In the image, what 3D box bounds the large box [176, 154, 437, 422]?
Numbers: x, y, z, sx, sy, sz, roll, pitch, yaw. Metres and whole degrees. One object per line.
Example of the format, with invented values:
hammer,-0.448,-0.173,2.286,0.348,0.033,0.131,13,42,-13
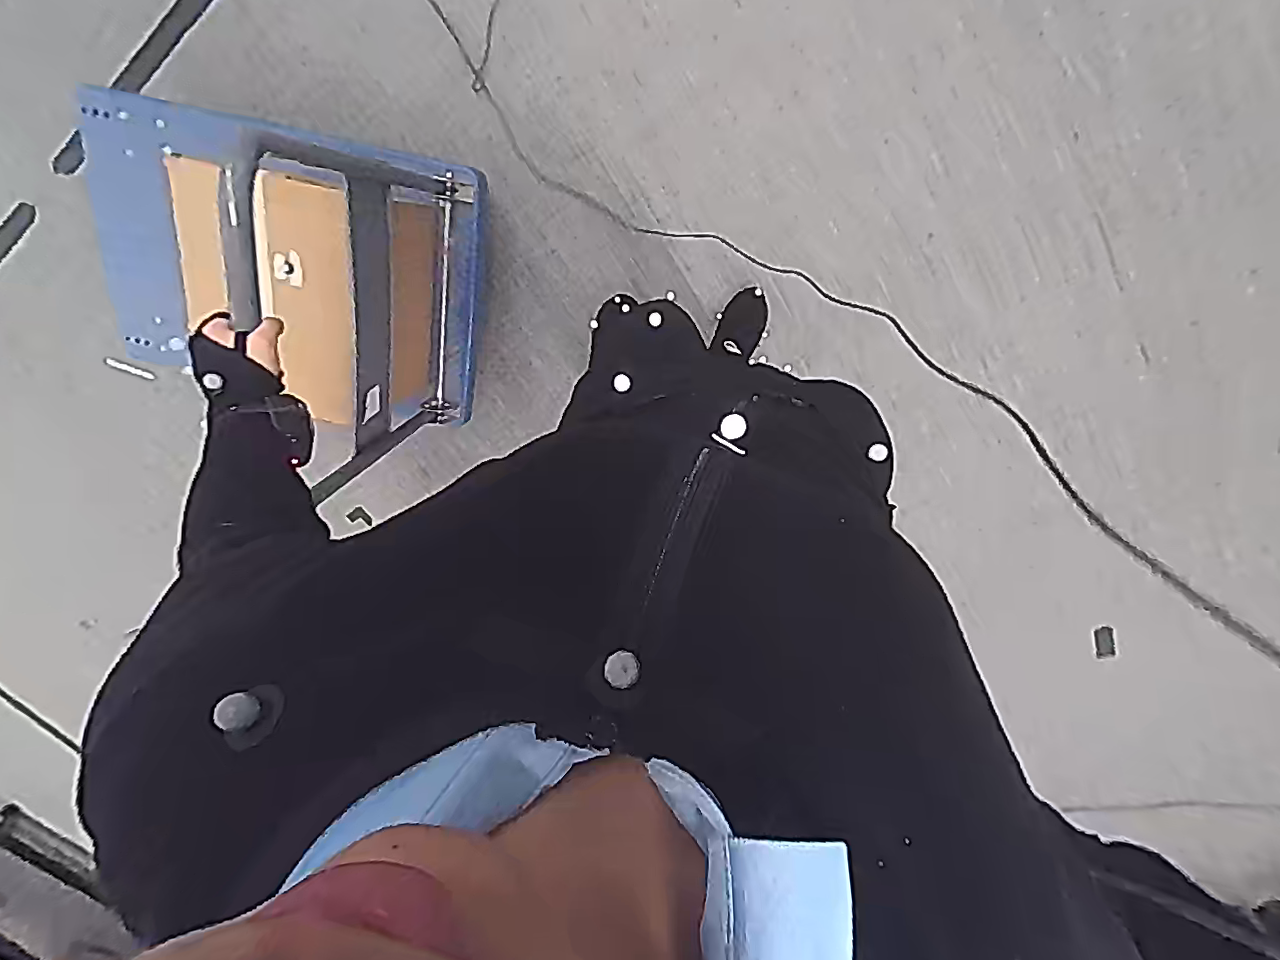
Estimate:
large box,-0.626,-0.373,1.086,0.320,0.320,0.408,12,113,0
